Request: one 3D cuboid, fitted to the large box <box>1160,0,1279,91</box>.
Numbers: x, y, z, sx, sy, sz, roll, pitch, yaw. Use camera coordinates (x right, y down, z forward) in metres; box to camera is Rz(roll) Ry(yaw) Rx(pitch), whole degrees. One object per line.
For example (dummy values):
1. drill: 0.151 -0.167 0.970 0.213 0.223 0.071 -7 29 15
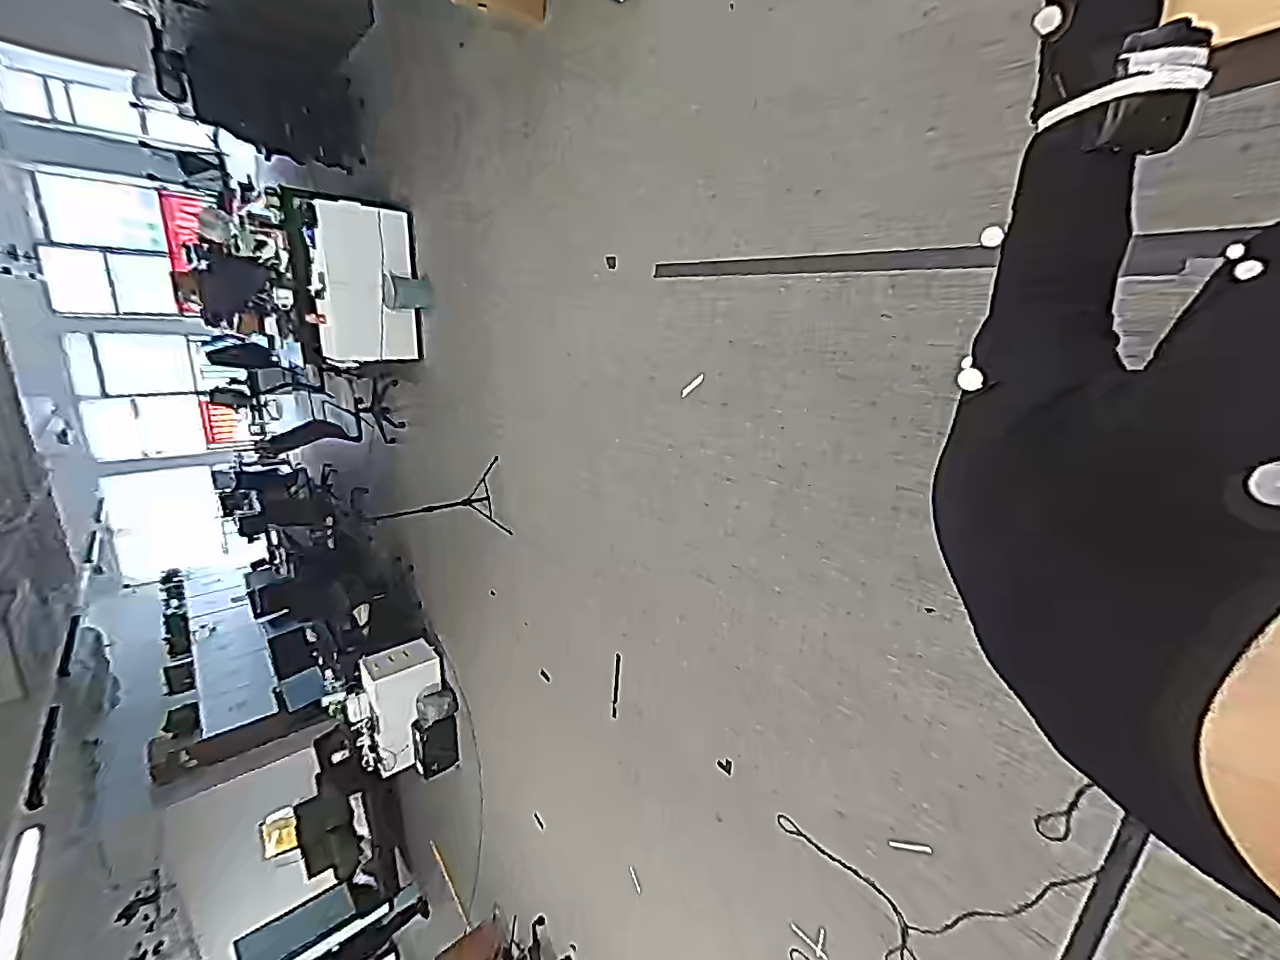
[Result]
1. large box: 0.567 -0.462 0.269 0.408 0.320 0.320 11 119 48
